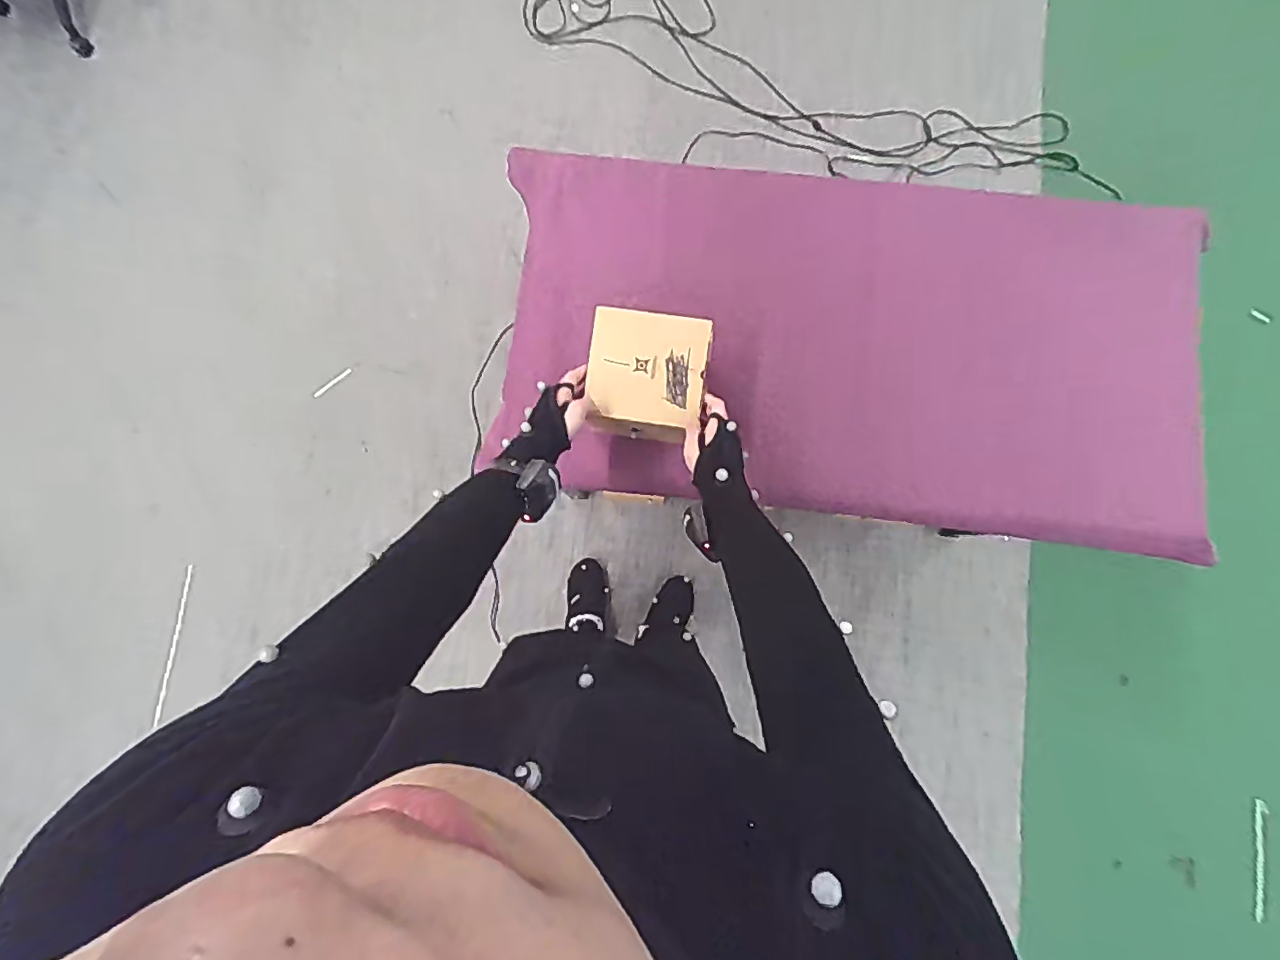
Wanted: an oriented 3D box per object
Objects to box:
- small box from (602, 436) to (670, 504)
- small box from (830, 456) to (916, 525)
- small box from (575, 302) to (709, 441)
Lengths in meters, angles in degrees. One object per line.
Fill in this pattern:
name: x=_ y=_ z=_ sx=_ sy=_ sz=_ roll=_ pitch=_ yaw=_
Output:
small box: x=-0.009 y=-0.025 z=1.584 sx=0.179 sy=0.176 sz=0.168 roll=6 pitch=82 yaw=2
small box: x=0.665 y=0.037 z=1.559 sx=0.179 sy=0.176 sz=0.168 roll=9 pitch=83 yaw=3
small box: x=0.006 y=-0.161 z=0.862 sx=0.179 sy=0.176 sz=0.168 roll=8 pitch=84 yaw=3
